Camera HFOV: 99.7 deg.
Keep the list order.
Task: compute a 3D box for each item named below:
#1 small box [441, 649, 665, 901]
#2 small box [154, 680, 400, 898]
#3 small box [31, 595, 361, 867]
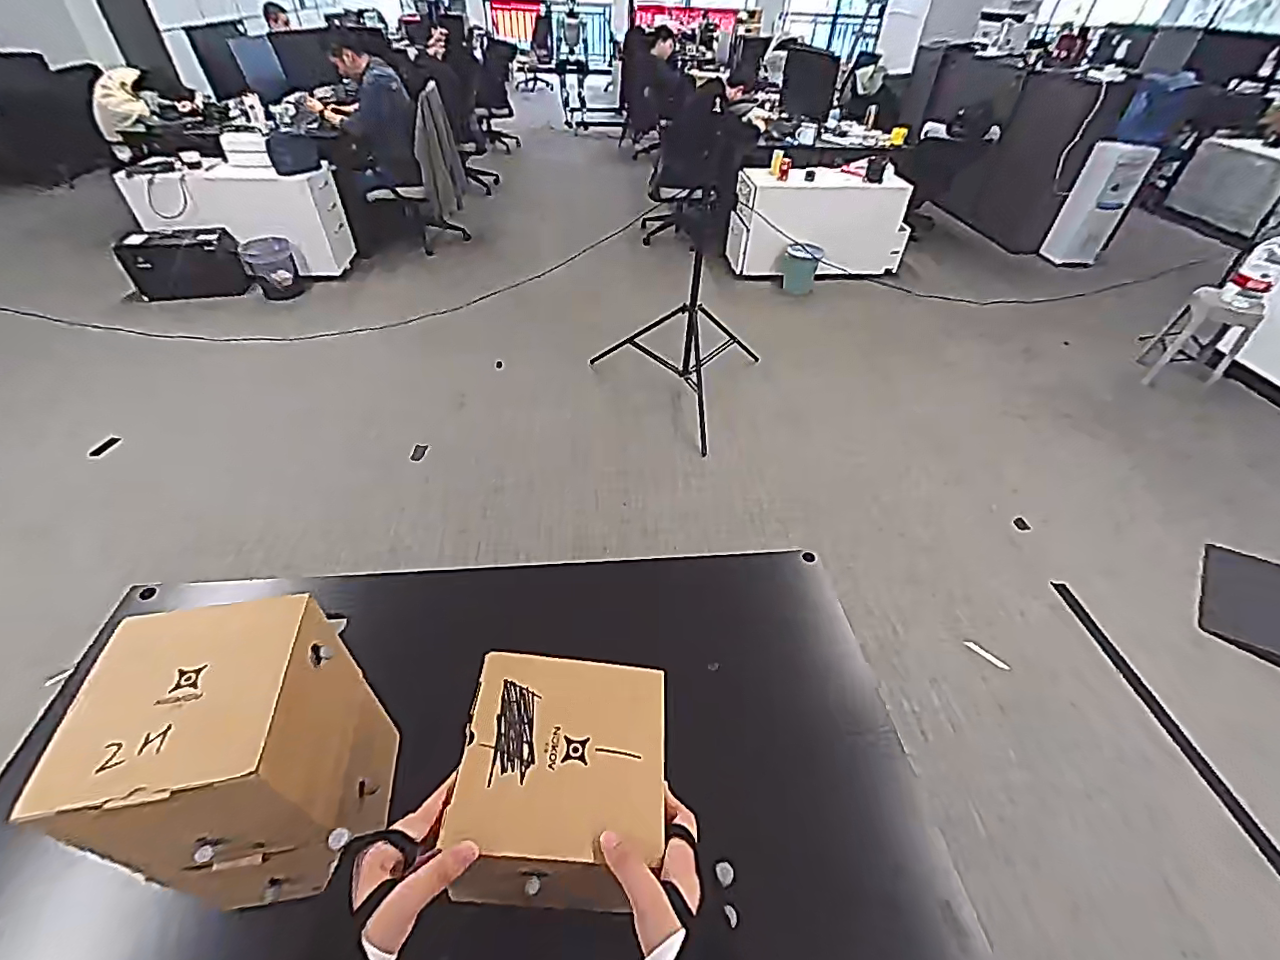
[{"bbox_3d":[-0.075,0.289,0.527,0.179,0.176,0.168,8,42,-5],"label":"small box"},{"bbox_3d":[-0.398,0.366,0.637,0.168,0.176,0.179,-6,44,-8],"label":"small box"},{"bbox_3d":[-0.393,0.240,0.528,0.168,0.176,0.179,-7,43,-9],"label":"small box"}]
